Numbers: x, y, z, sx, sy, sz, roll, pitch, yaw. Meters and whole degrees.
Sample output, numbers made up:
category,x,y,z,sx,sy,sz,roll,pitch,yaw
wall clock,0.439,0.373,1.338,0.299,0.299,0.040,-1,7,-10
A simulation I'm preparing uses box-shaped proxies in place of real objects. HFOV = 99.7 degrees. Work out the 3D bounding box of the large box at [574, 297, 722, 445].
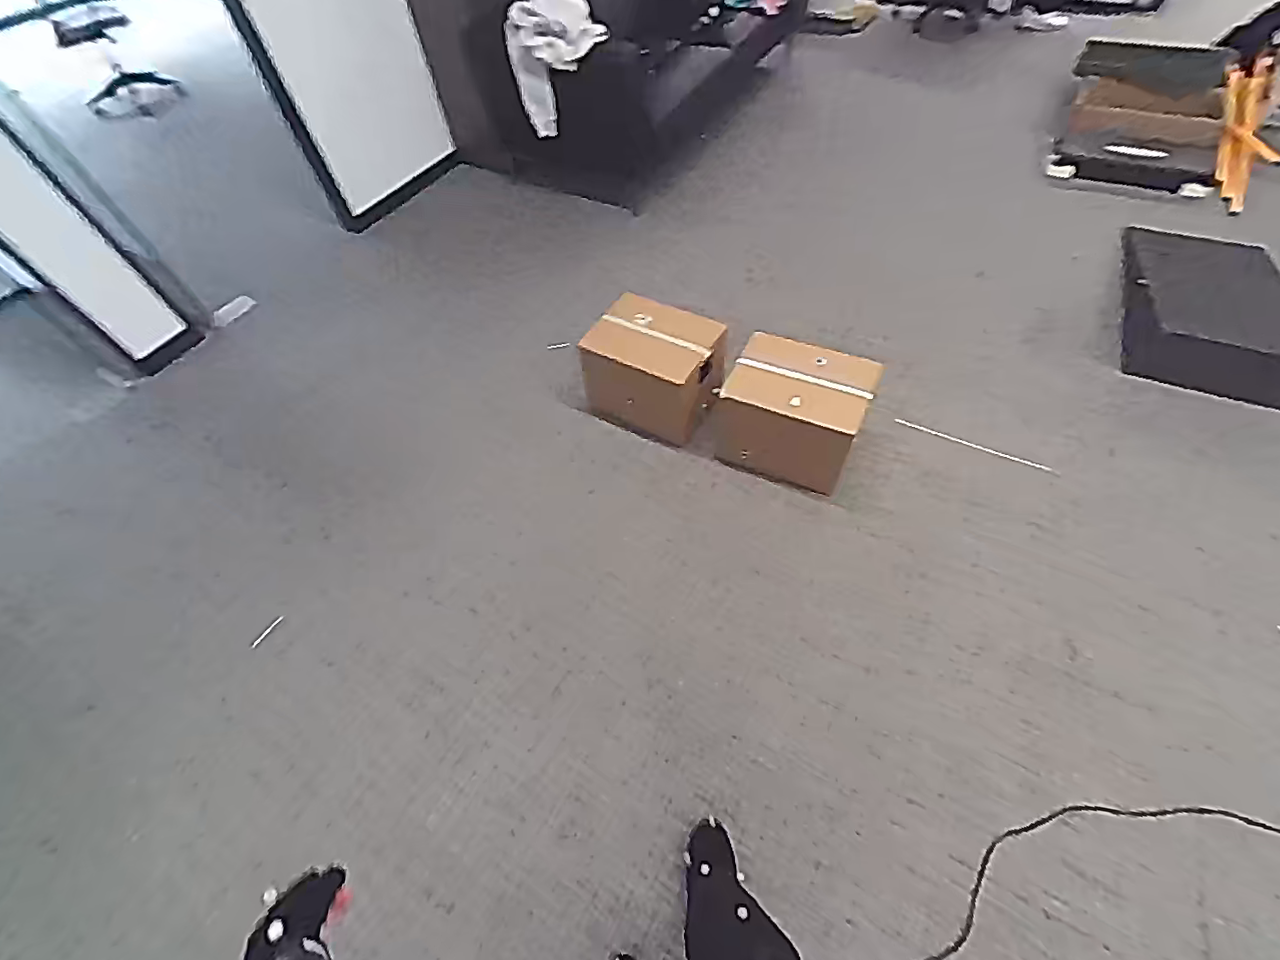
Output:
category,x,y,z,sx,sy,sz,roll,pitch,yaw
large box,0.044,-0.381,1.892,0.408,0.320,0.320,24,60,22
